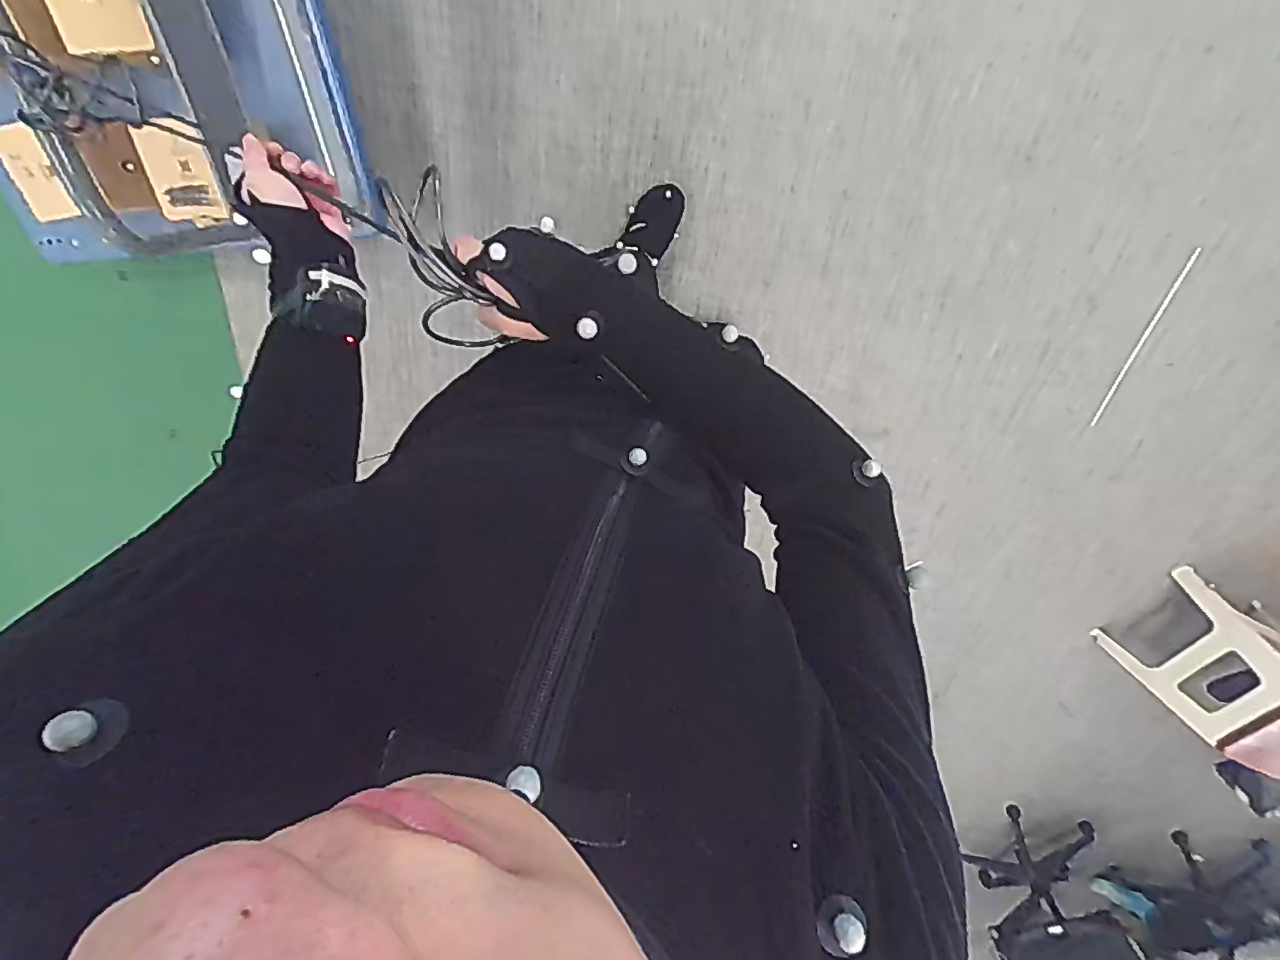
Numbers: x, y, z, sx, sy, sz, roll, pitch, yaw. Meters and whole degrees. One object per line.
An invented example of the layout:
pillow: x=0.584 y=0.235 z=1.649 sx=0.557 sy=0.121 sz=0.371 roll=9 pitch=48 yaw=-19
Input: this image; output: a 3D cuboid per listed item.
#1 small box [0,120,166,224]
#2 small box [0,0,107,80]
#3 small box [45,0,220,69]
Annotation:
small box: x=-1.167 y=-0.652 z=1.145 sx=0.179 sy=0.176 sz=0.168 roll=-6 pitch=119 yaw=7
small box: x=-1.187 y=-0.871 z=1.016 sx=0.179 sy=0.176 sz=0.168 roll=-4 pitch=121 yaw=5
small box: x=-0.943 y=-0.878 z=0.999 sx=0.179 sy=0.176 sz=0.168 roll=-1 pitch=121 yaw=4
